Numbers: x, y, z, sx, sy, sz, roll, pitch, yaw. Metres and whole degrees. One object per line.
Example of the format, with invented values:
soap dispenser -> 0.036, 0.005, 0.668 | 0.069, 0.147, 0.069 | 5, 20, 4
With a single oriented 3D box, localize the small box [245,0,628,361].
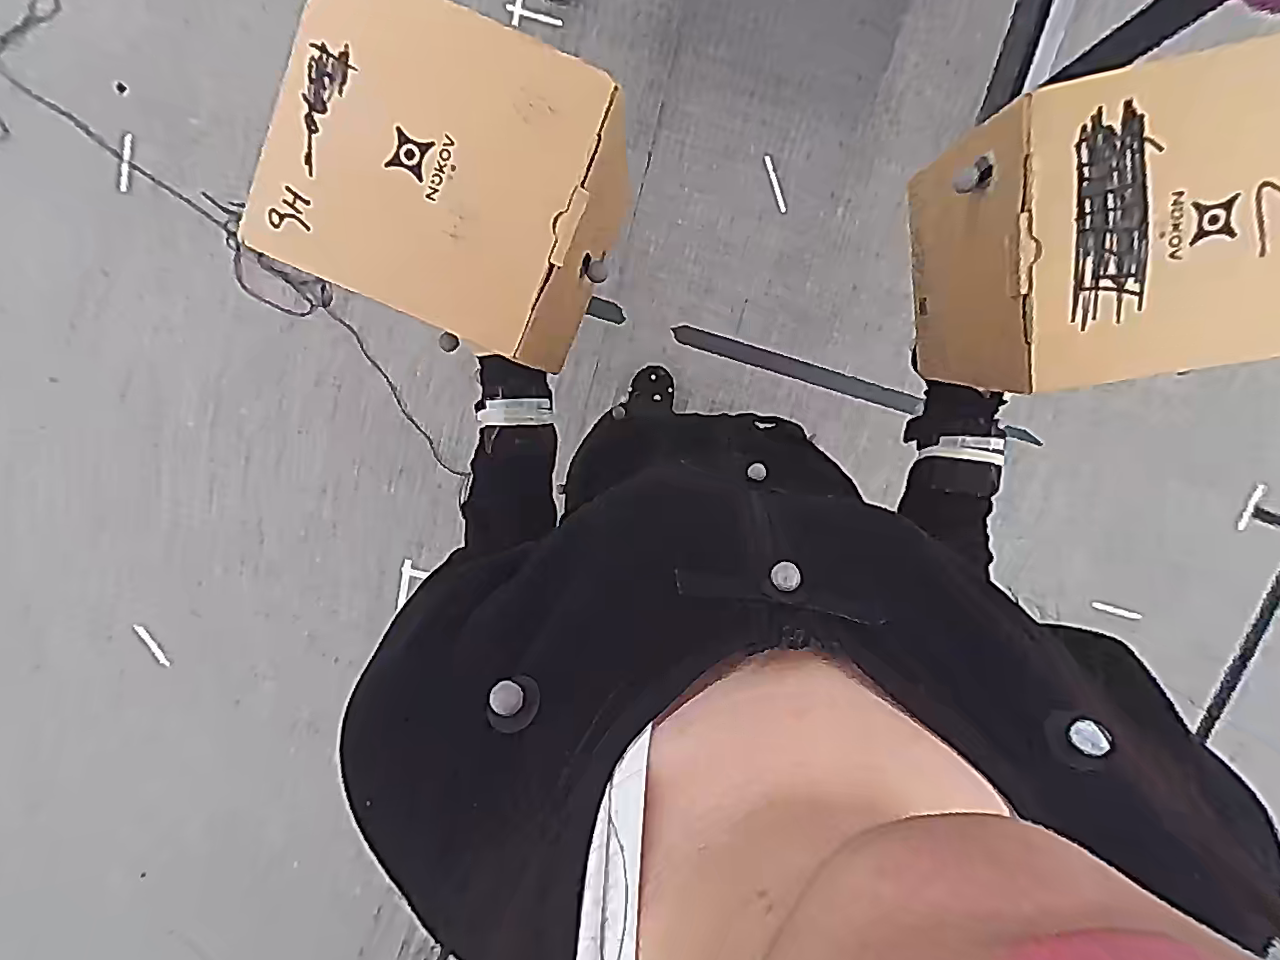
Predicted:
small box -> -0.117, -0.193, 0.384 | 0.179, 0.176, 0.168 | 23, 98, -4
